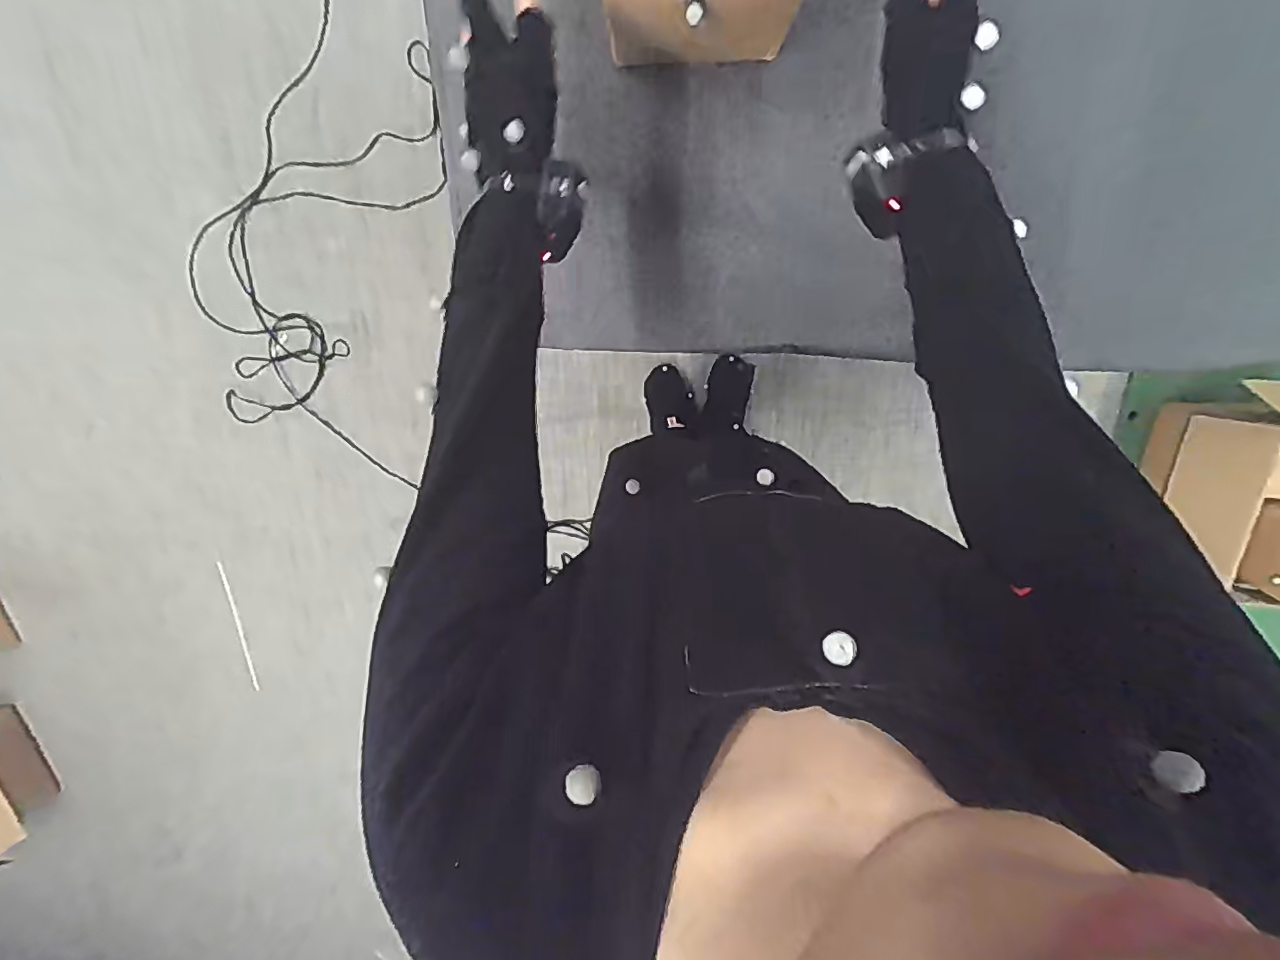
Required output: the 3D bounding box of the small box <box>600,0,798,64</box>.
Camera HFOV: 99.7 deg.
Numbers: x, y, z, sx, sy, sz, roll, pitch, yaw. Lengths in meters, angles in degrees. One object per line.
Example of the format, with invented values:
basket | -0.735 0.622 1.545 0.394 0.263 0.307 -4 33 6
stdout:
small box | 0.054 -0.503 0.484 0.179 0.176 0.168 0 108 4
